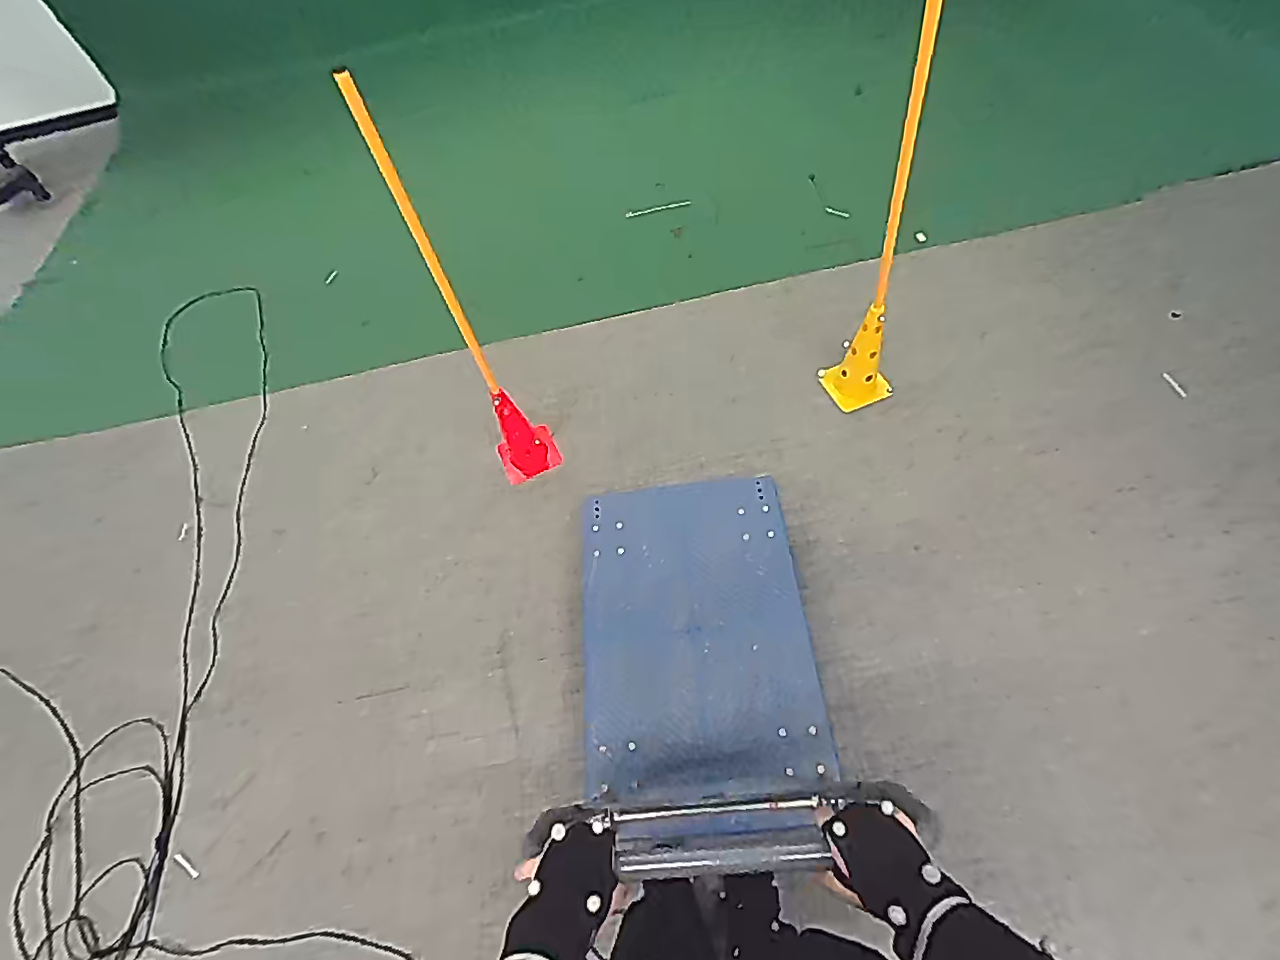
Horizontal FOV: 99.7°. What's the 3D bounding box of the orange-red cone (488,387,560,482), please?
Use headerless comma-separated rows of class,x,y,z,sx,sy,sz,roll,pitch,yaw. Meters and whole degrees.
orange-red cone,-0.423,-0.180,1.786,0.199,0.360,0.198,-25,59,-6
